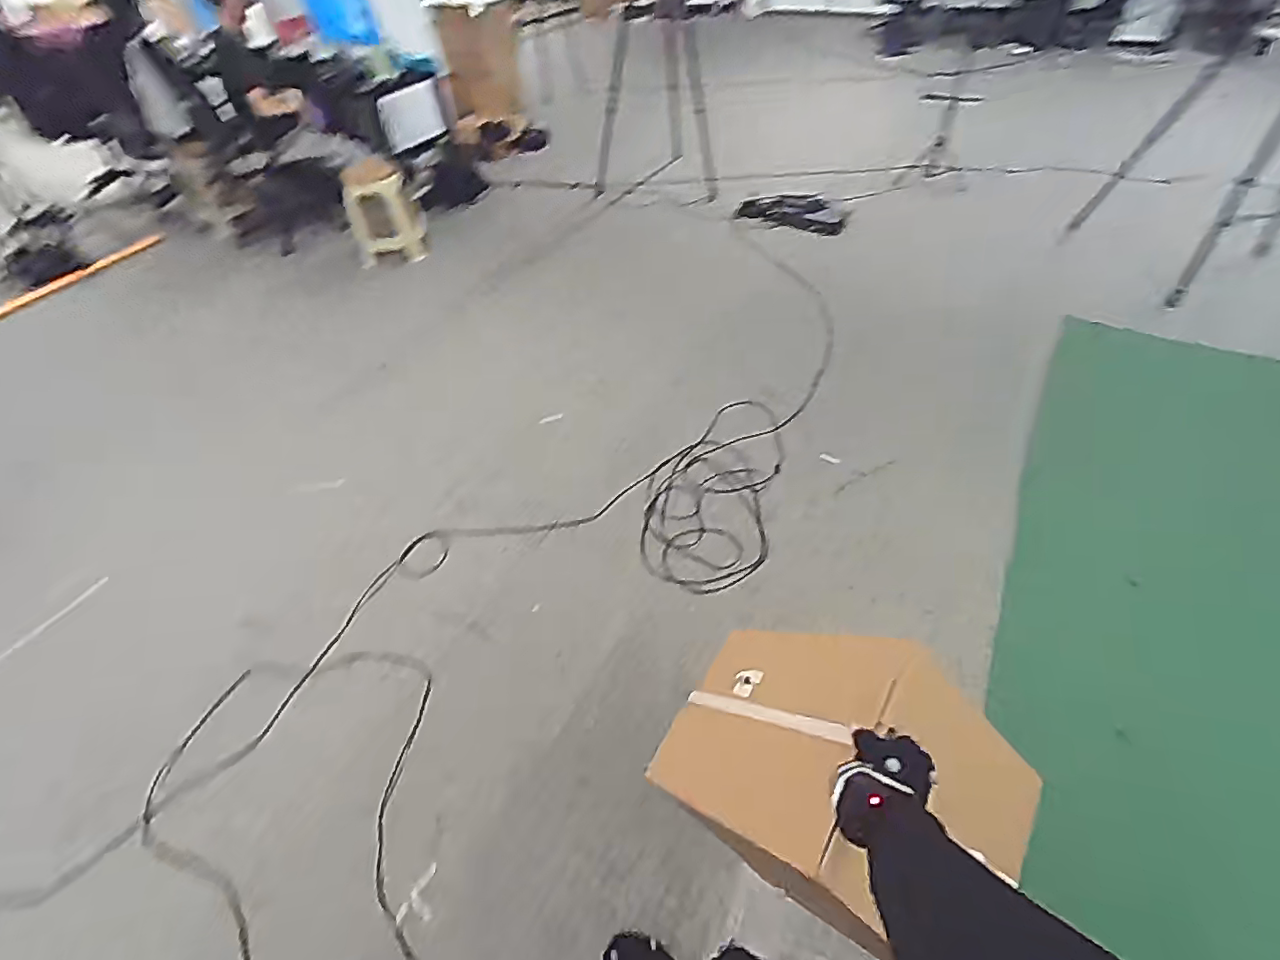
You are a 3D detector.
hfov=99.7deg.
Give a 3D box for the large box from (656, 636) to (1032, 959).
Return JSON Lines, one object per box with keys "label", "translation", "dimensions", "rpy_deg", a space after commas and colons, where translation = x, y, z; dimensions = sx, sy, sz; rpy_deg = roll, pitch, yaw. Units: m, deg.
{"label": "large box", "translation": [0.302, 0.471, 0.859], "dimensions": [0.320, 0.408, 0.320], "rpy_deg": [45, 62, -9]}
